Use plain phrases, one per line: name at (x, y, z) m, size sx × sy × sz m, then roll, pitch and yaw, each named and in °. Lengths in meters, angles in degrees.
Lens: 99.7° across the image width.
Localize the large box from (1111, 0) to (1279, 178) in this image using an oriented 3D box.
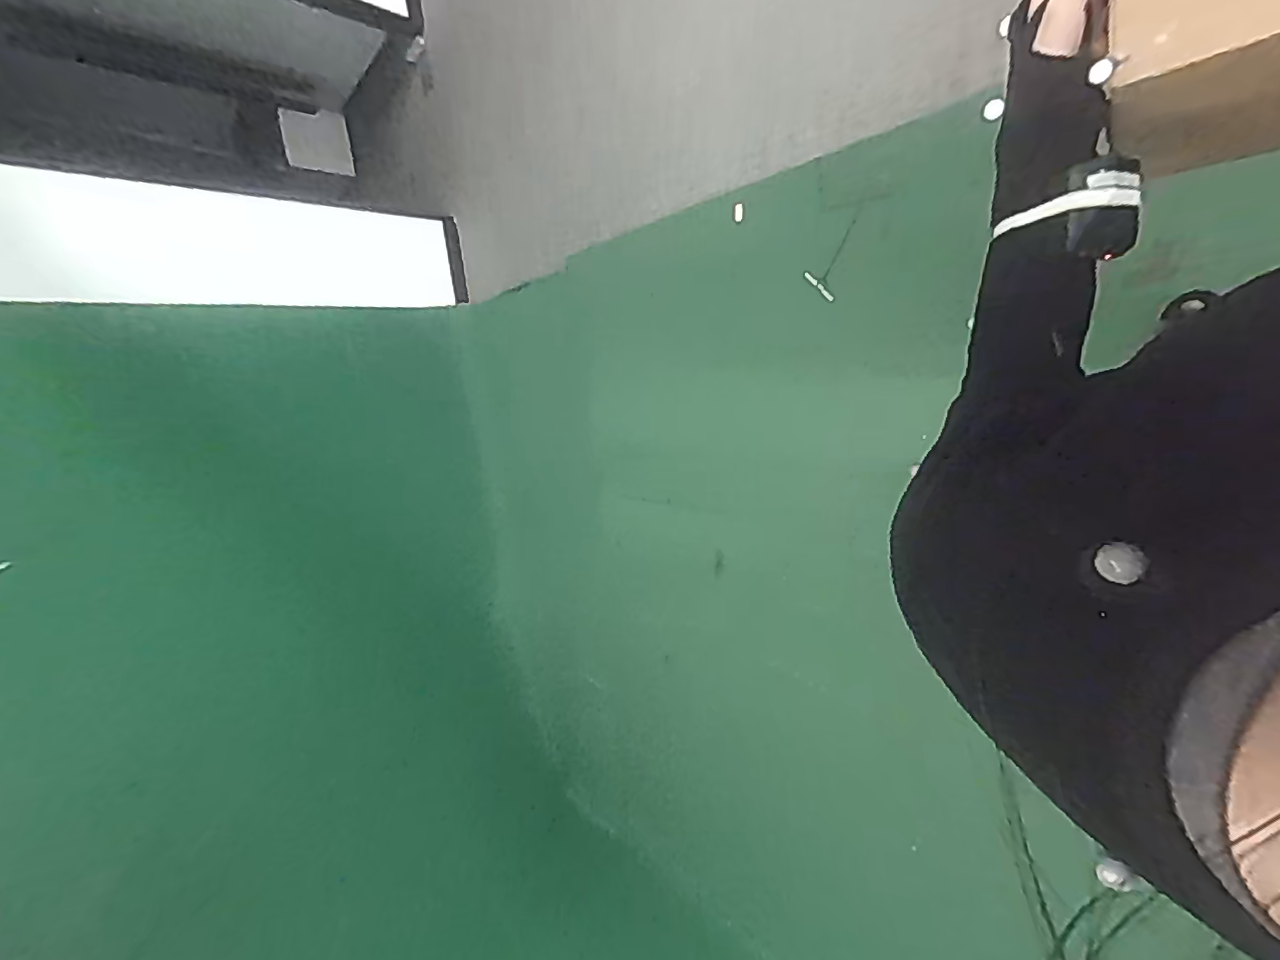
large box at (0.566, -0.442, 0.331) m, size 0.408 × 0.320 × 0.320 m, roll 3°, pitch 102°, yaw 43°
